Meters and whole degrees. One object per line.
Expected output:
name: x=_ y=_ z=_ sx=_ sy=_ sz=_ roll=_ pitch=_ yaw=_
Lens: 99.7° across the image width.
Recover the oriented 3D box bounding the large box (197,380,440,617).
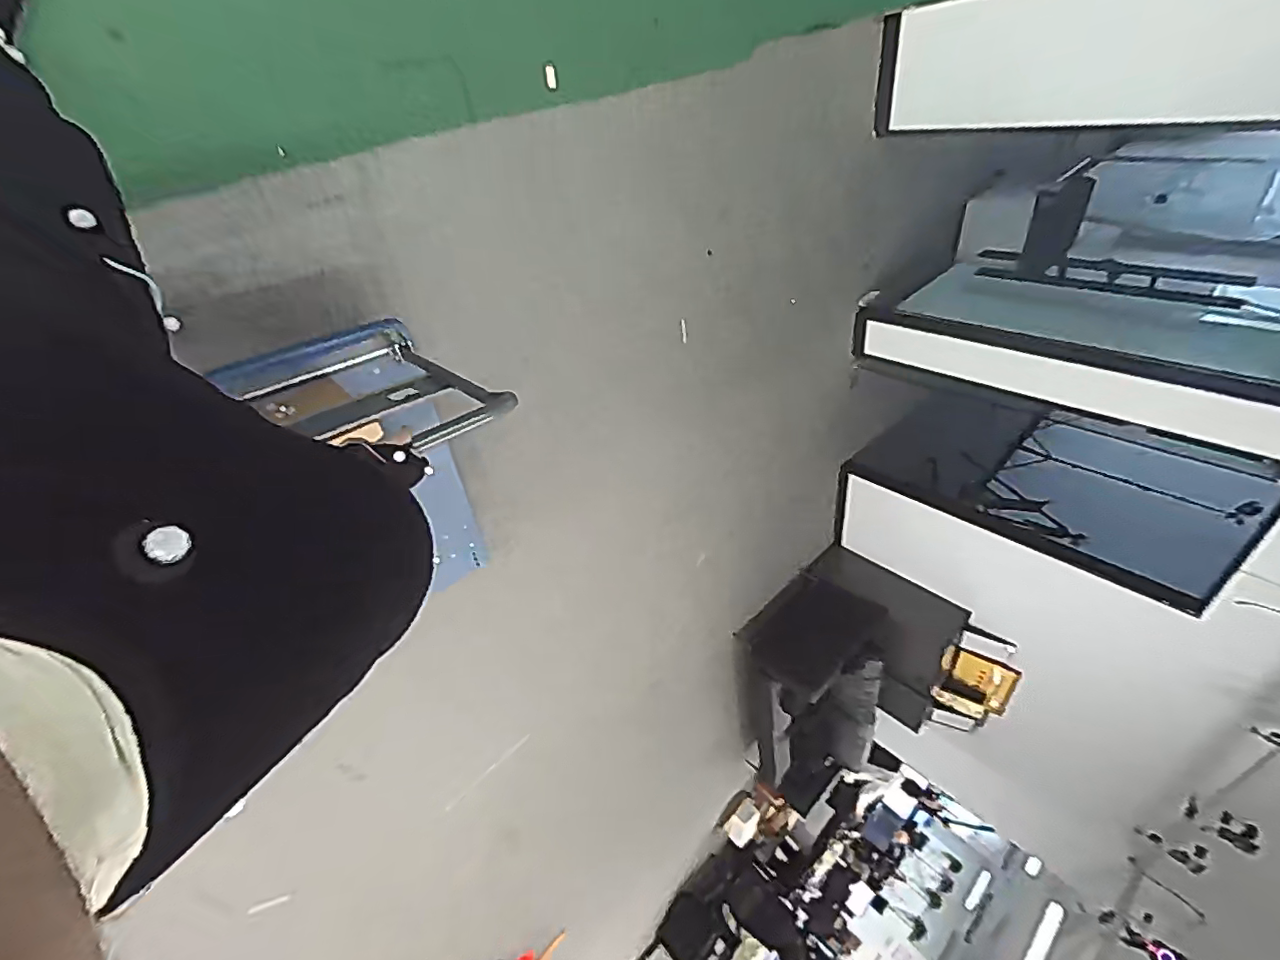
large box: x=-0.747 y=0.032 z=1.289 sx=0.320 sy=0.320 sz=0.408 roll=-32 pitch=133 yaw=-29
